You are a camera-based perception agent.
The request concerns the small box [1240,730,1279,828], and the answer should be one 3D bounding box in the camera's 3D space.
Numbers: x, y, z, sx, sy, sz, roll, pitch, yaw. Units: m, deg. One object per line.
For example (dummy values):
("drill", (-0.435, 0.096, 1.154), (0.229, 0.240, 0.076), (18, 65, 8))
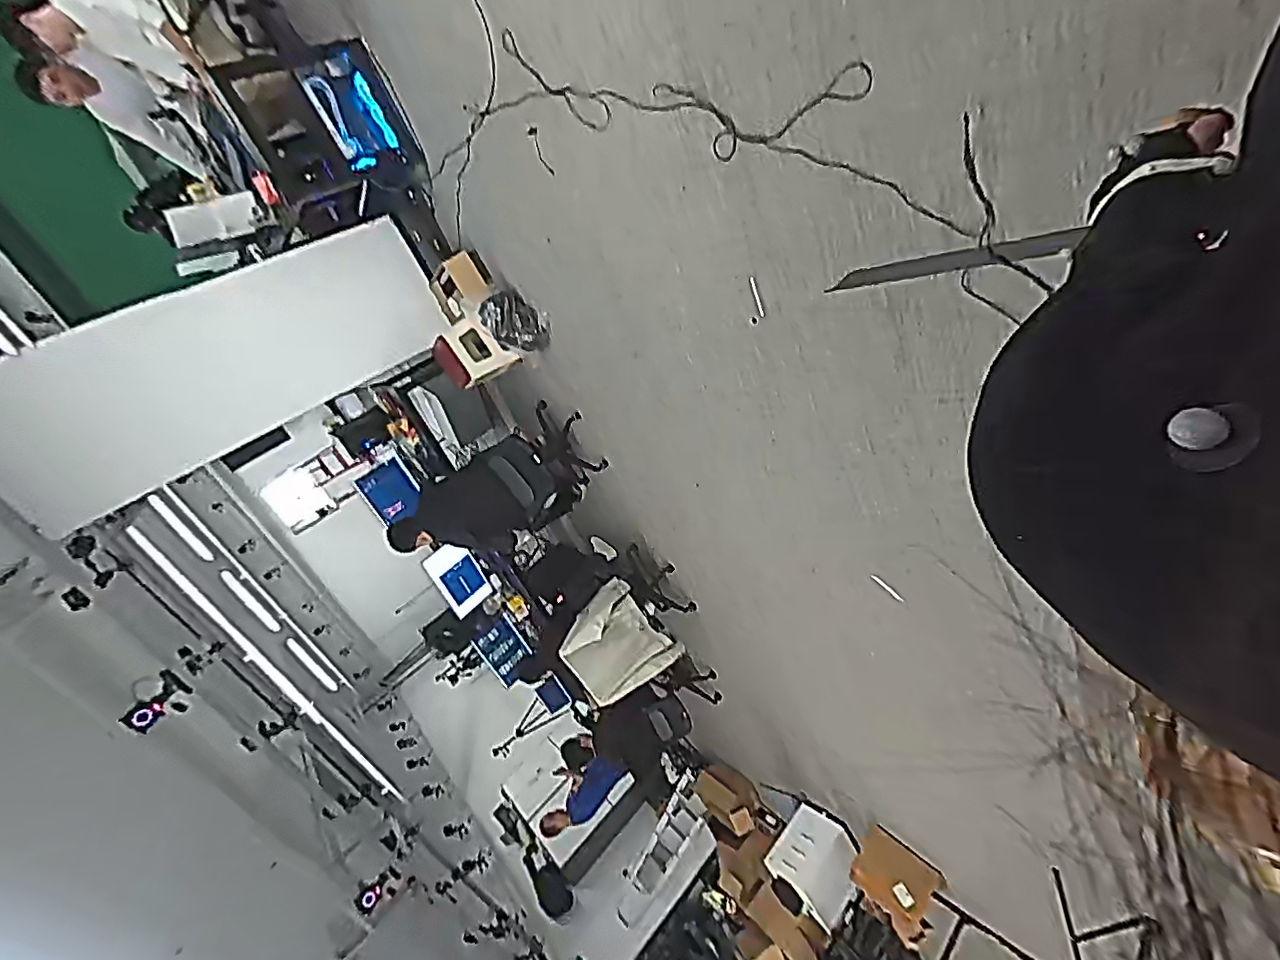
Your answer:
("small box", (1.709, 0.800, 1.412), (0.168, 0.176, 0.179), (3, 127, 55))
